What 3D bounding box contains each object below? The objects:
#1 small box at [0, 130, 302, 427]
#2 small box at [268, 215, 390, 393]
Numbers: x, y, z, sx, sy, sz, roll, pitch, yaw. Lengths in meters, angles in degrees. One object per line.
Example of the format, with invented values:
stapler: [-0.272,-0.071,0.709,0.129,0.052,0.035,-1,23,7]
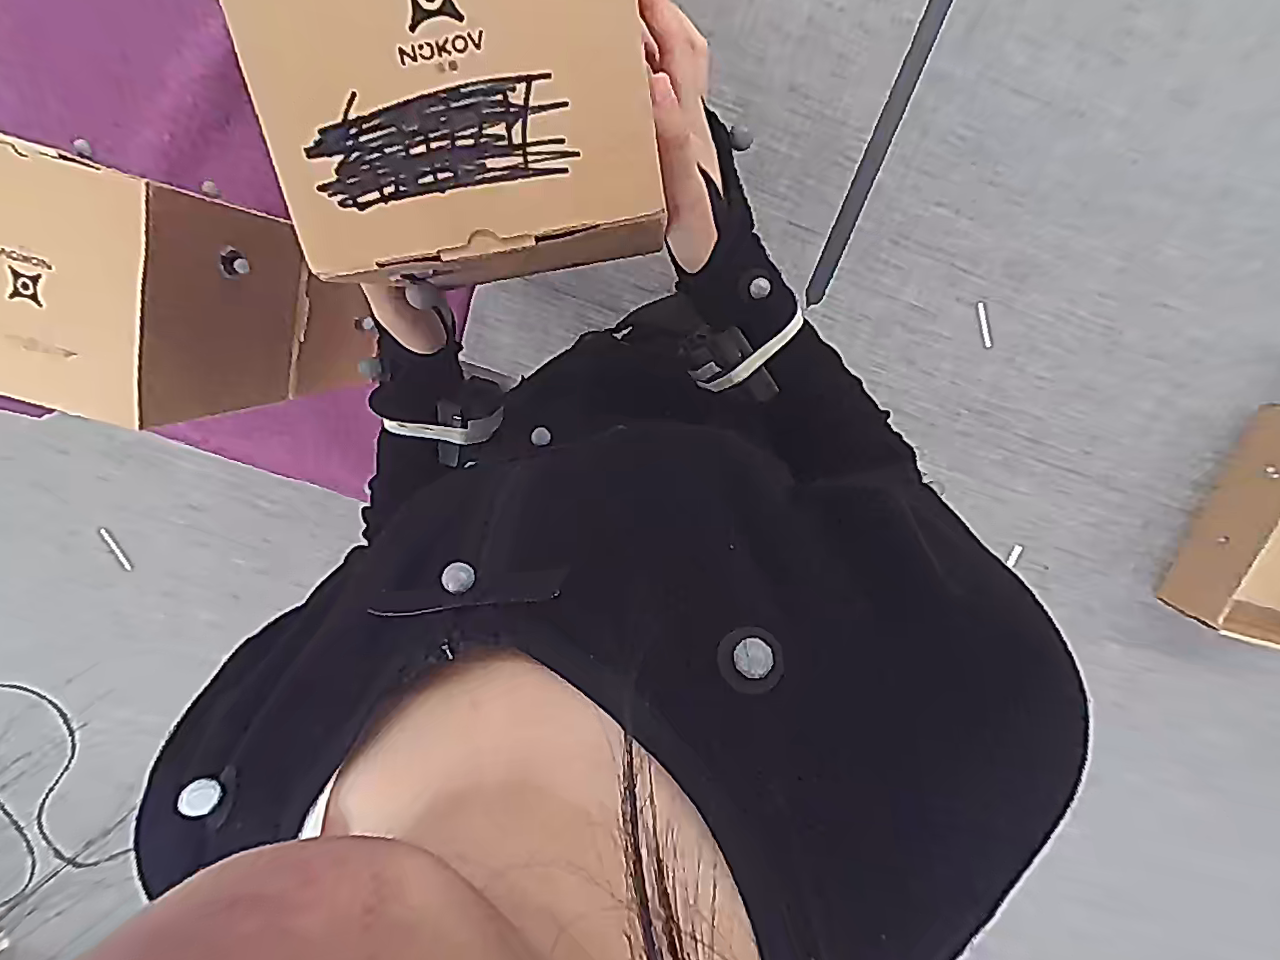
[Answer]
small box: [-0.418,-0.162,0.453,0.168,0.176,0.179,15,106,-2]
small box: [-0.416,-0.207,0.608,0.179,0.176,0.168,16,106,-4]
